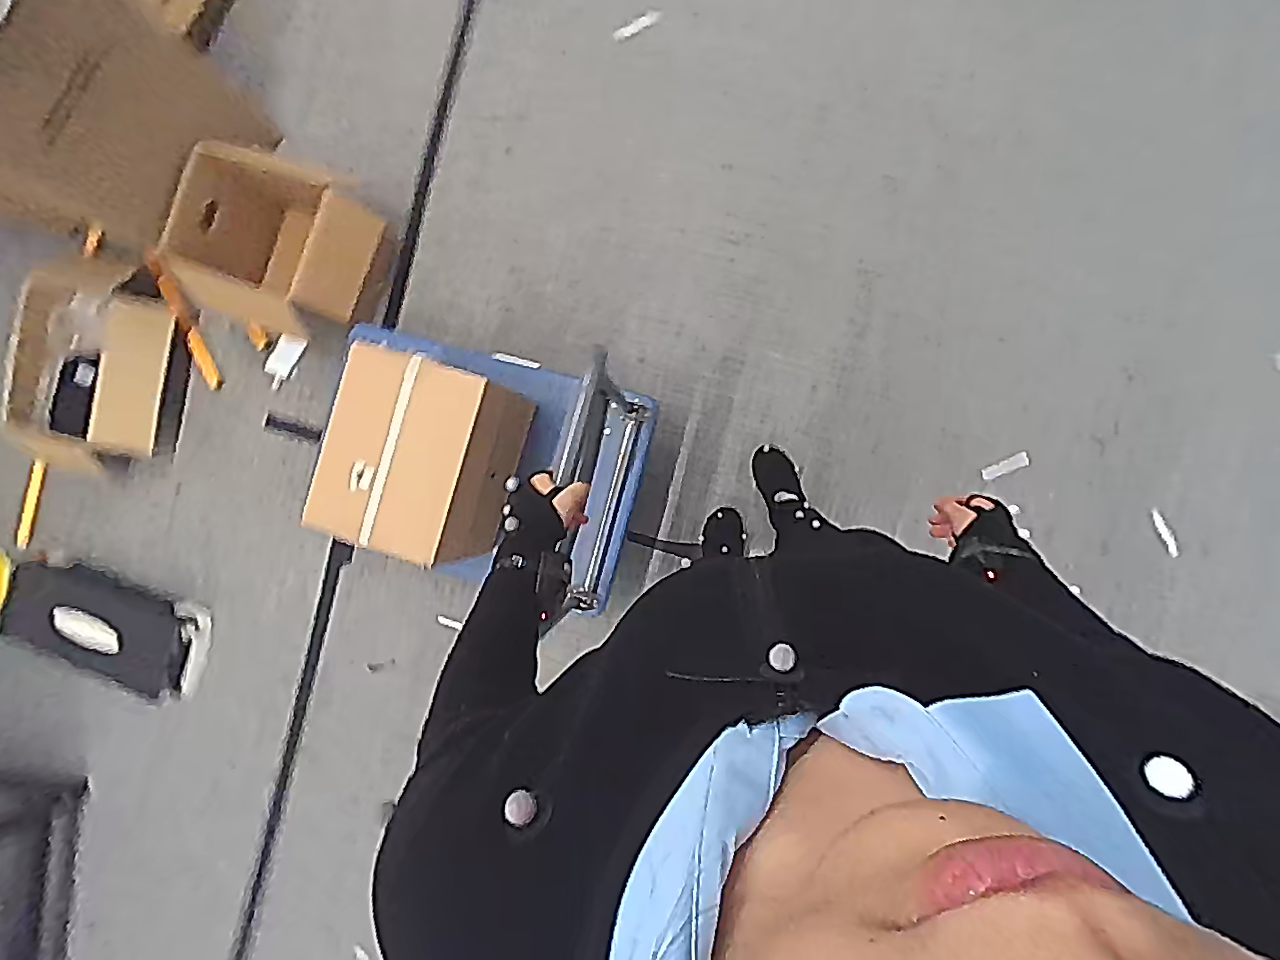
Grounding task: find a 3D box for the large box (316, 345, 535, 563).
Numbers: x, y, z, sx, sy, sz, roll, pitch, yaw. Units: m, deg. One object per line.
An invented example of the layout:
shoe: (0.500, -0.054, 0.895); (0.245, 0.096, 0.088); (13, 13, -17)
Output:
large box: (-0.480, -0.060, 1.278); (0.320, 0.320, 0.408); (16, 92, 9)
